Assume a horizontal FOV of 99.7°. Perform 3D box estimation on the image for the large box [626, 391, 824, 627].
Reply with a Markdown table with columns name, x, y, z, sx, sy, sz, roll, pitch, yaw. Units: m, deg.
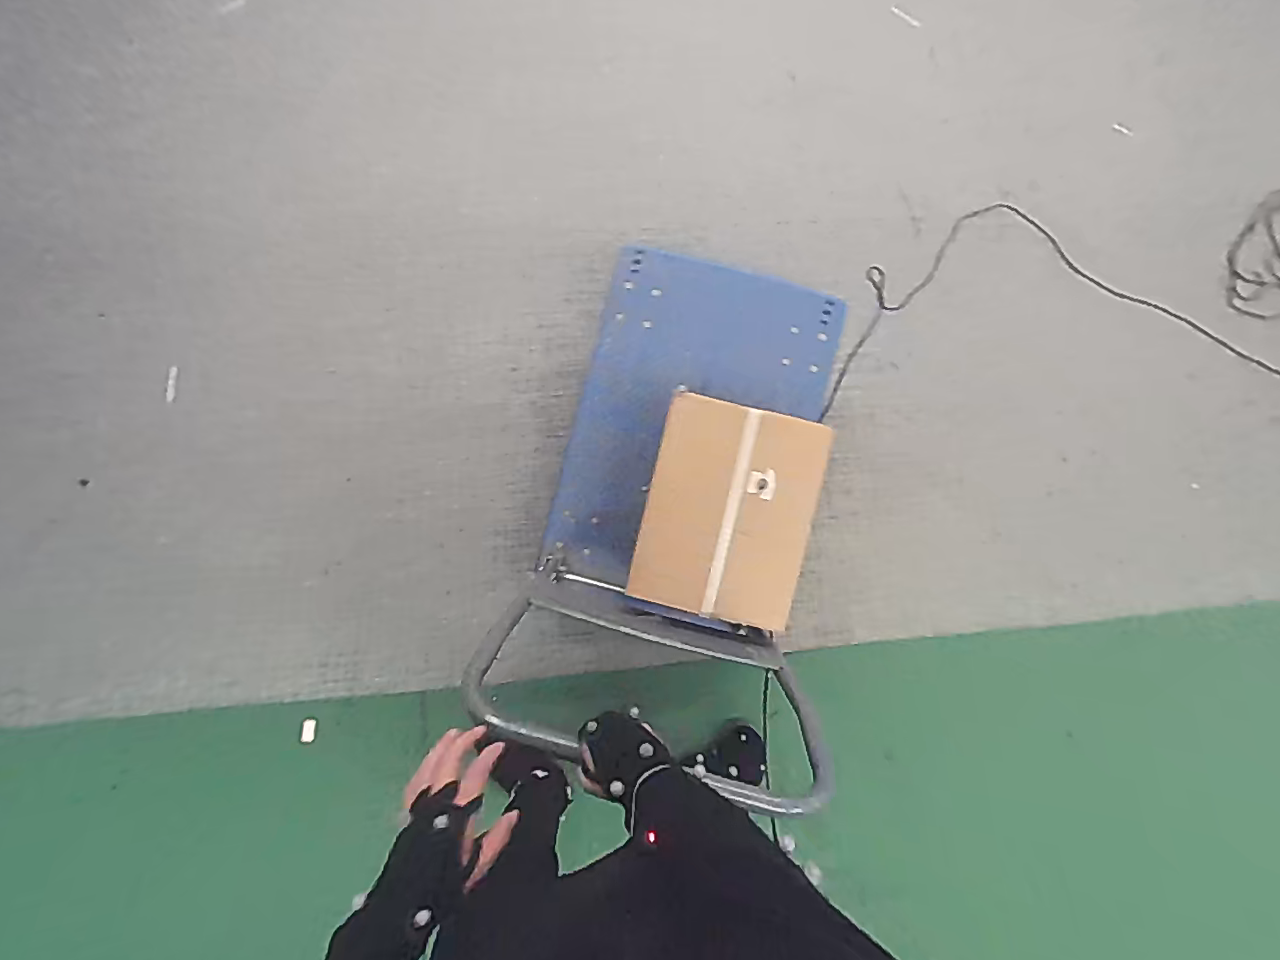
| name | x | y | z | sx | sy | sz | roll | pitch | yaw |
| --- | --- | --- | --- | --- | --- | --- | --- | --- | --- |
| large box | 0.163 | 0.059 | 1.171 | 0.320 | 0.320 | 0.408 | 13 | 89 | 0 |
